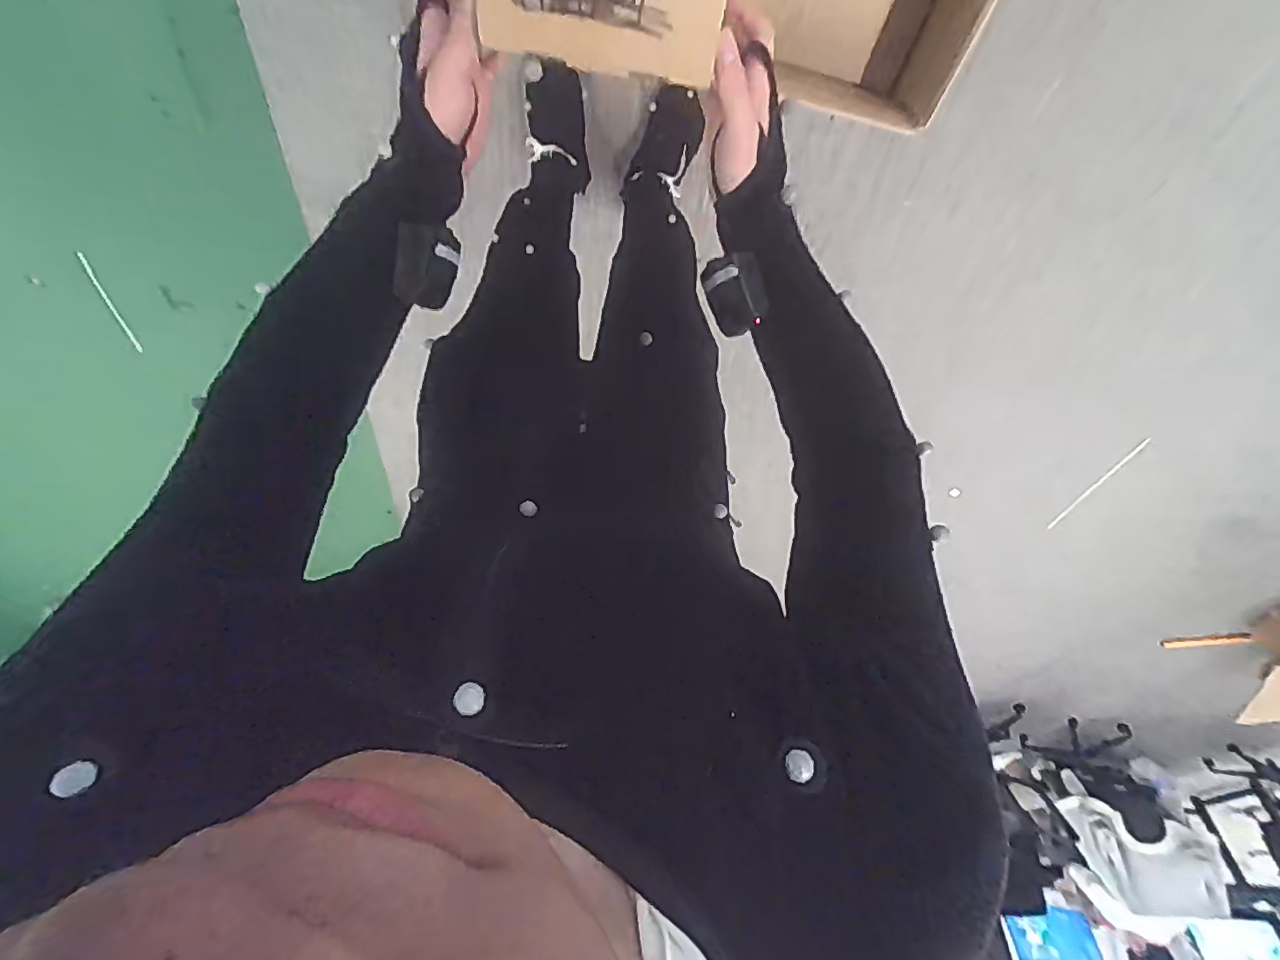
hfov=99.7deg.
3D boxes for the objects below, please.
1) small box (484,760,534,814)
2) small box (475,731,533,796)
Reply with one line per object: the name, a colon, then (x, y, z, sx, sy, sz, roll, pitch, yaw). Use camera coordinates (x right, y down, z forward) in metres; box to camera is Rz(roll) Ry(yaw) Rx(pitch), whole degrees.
small box: (-0.531, 1.247, 2.213, 0.168, 0.176, 0.179, 6, 137, -3)
small box: (-0.491, 1.038, 1.977, 0.168, 0.176, 0.179, 6, 139, -1)
